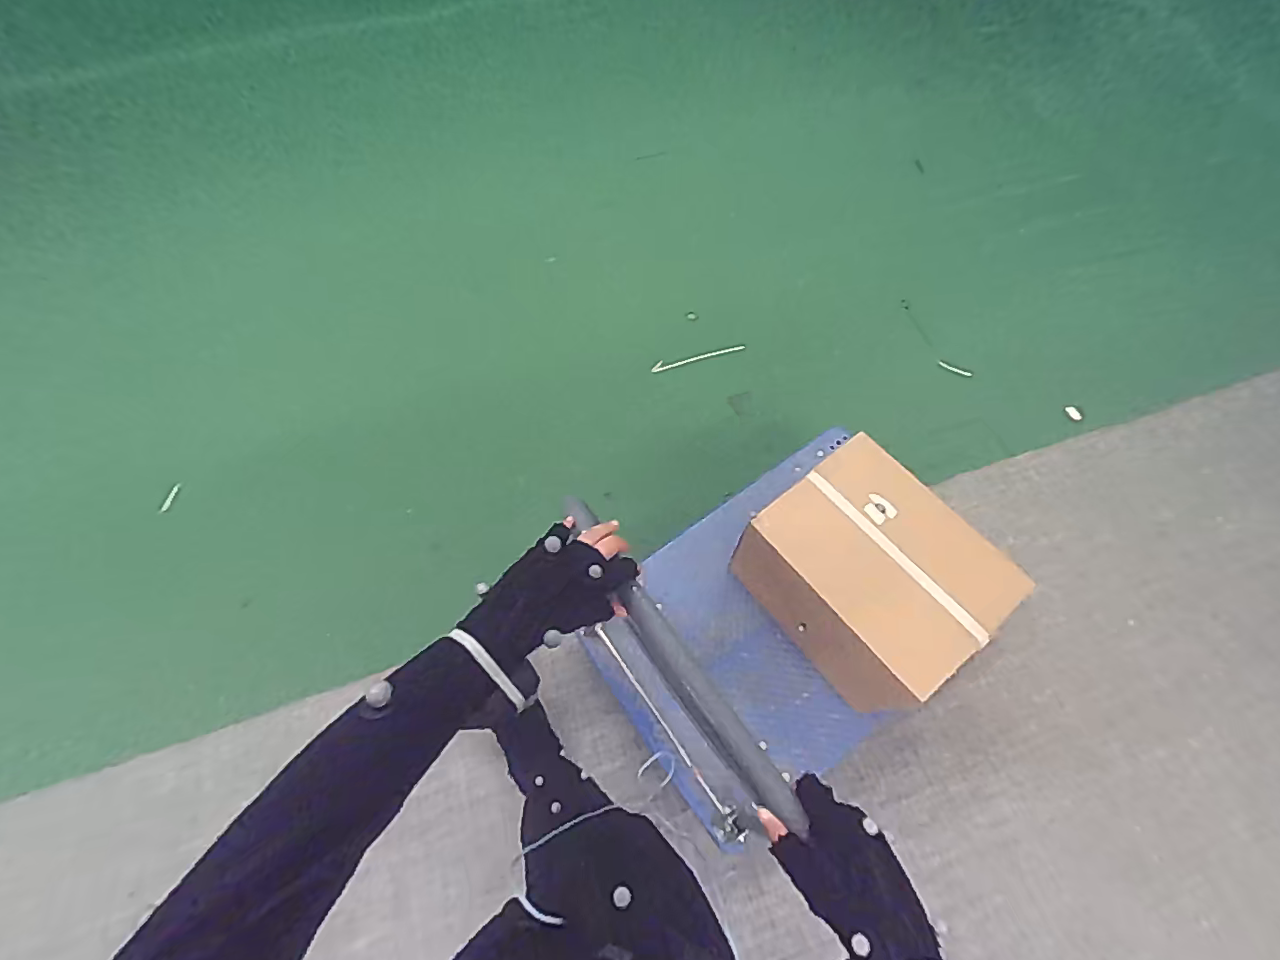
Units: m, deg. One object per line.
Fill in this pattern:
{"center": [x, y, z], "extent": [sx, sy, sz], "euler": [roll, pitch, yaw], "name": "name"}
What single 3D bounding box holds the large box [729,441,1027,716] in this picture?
{"center": [0.439, 0.208, 1.103], "extent": [0.320, 0.320, 0.408], "euler": [-35, 67, -16], "name": "large box"}
